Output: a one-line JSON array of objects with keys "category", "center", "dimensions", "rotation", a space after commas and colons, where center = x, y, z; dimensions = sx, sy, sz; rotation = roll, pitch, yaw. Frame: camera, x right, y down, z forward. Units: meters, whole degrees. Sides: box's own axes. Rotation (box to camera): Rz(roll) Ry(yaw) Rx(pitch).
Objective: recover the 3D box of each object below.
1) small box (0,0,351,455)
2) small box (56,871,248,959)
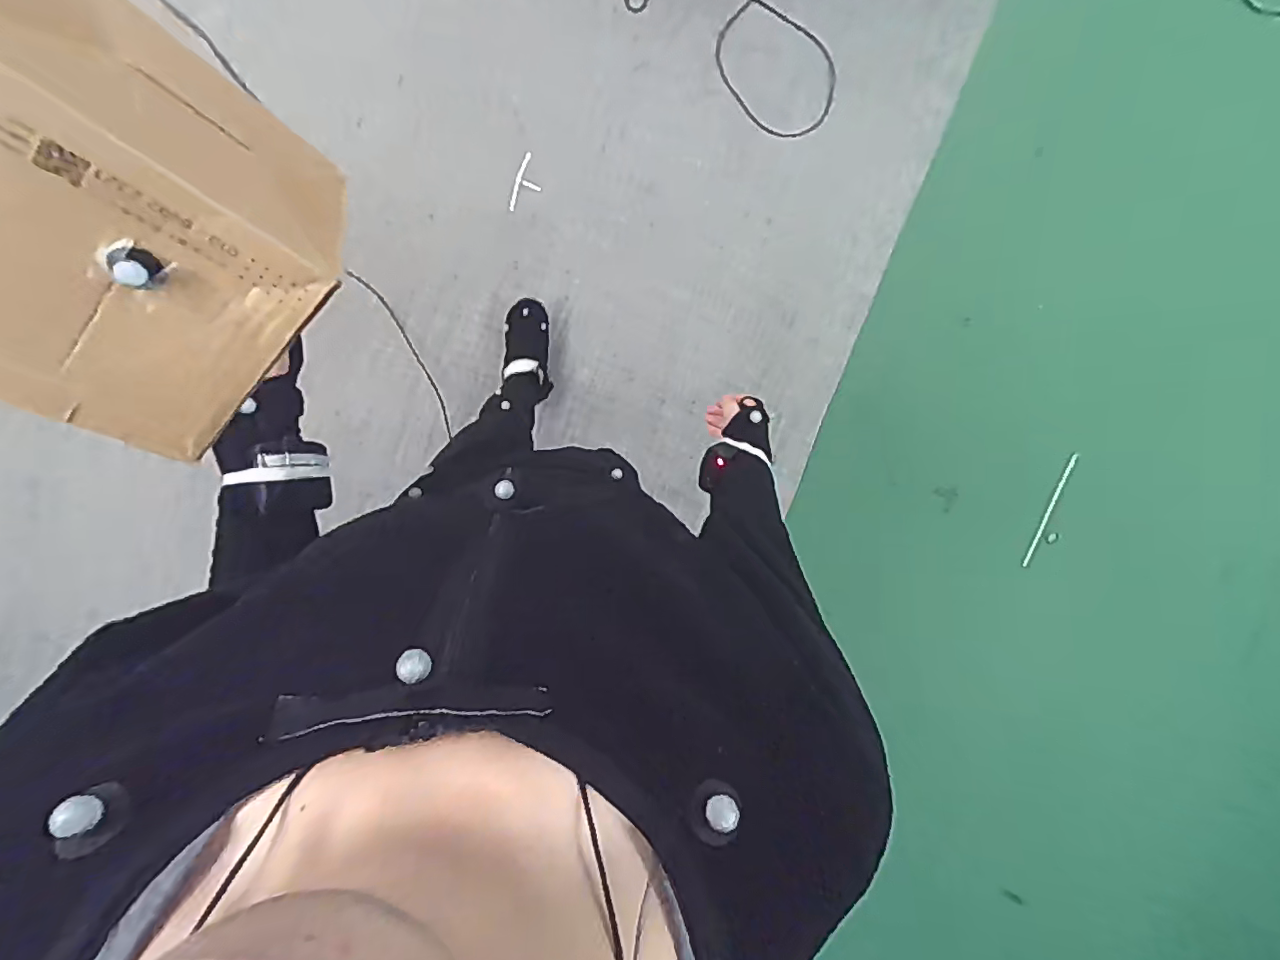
[{"category": "small box", "center": [-0.294, -0.153, 0.319], "dimensions": [0.176, 0.179, 0.168], "rotation": [-41, 138, 17]}, {"category": "small box", "center": [-0.769, 0.758, 0.839], "dimensions": [0.179, 0.176, 0.168], "rotation": [22, 96, -9]}]
